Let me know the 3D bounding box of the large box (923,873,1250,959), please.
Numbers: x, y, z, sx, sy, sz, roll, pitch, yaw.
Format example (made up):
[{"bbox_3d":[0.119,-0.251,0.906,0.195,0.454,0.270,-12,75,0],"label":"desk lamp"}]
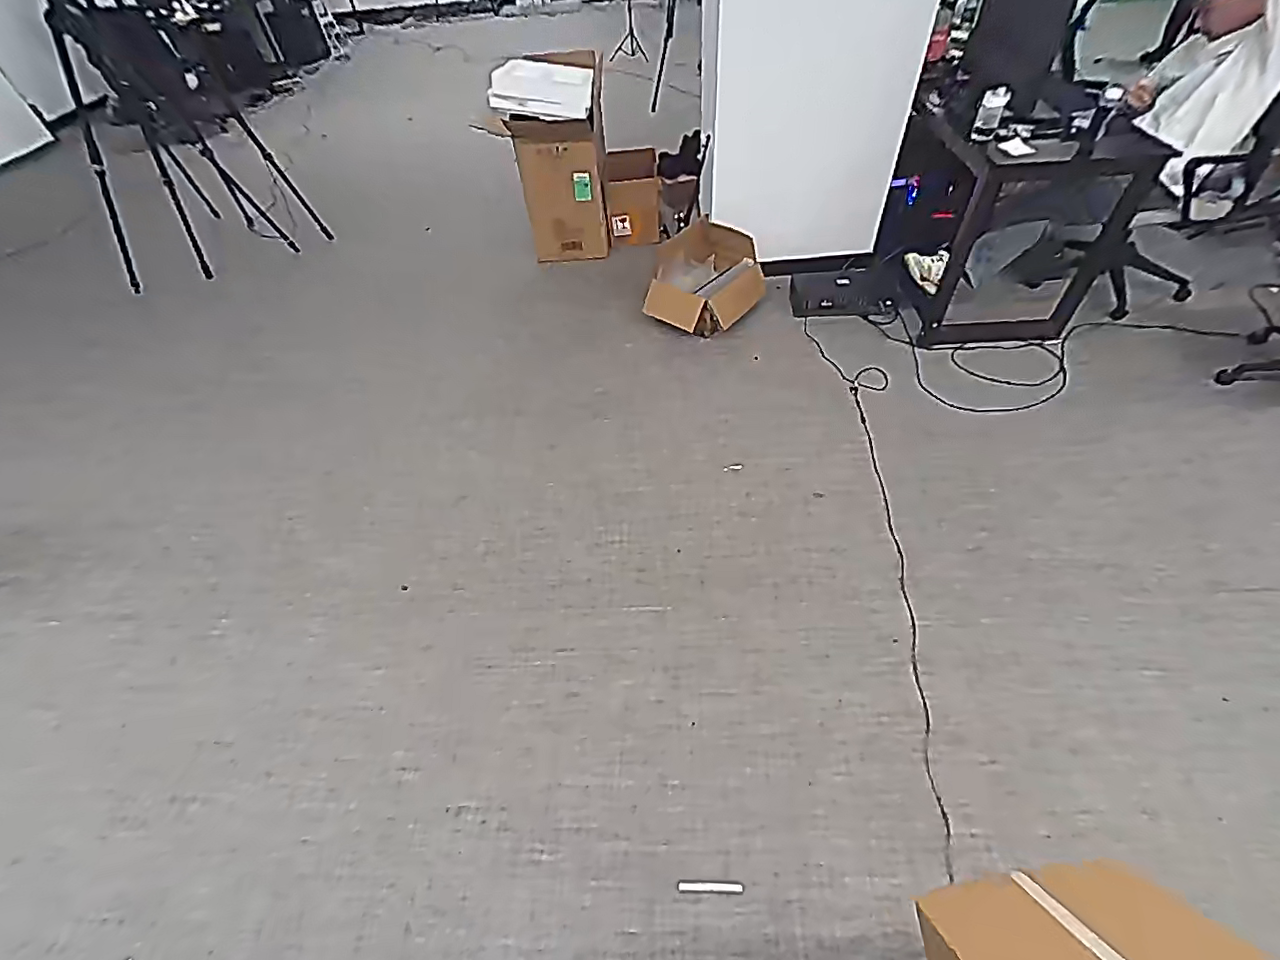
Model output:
[{"bbox_3d":[0.586,0.726,0.585,0.320,0.408,0.320,-11,83,0],"label":"large box"}]
